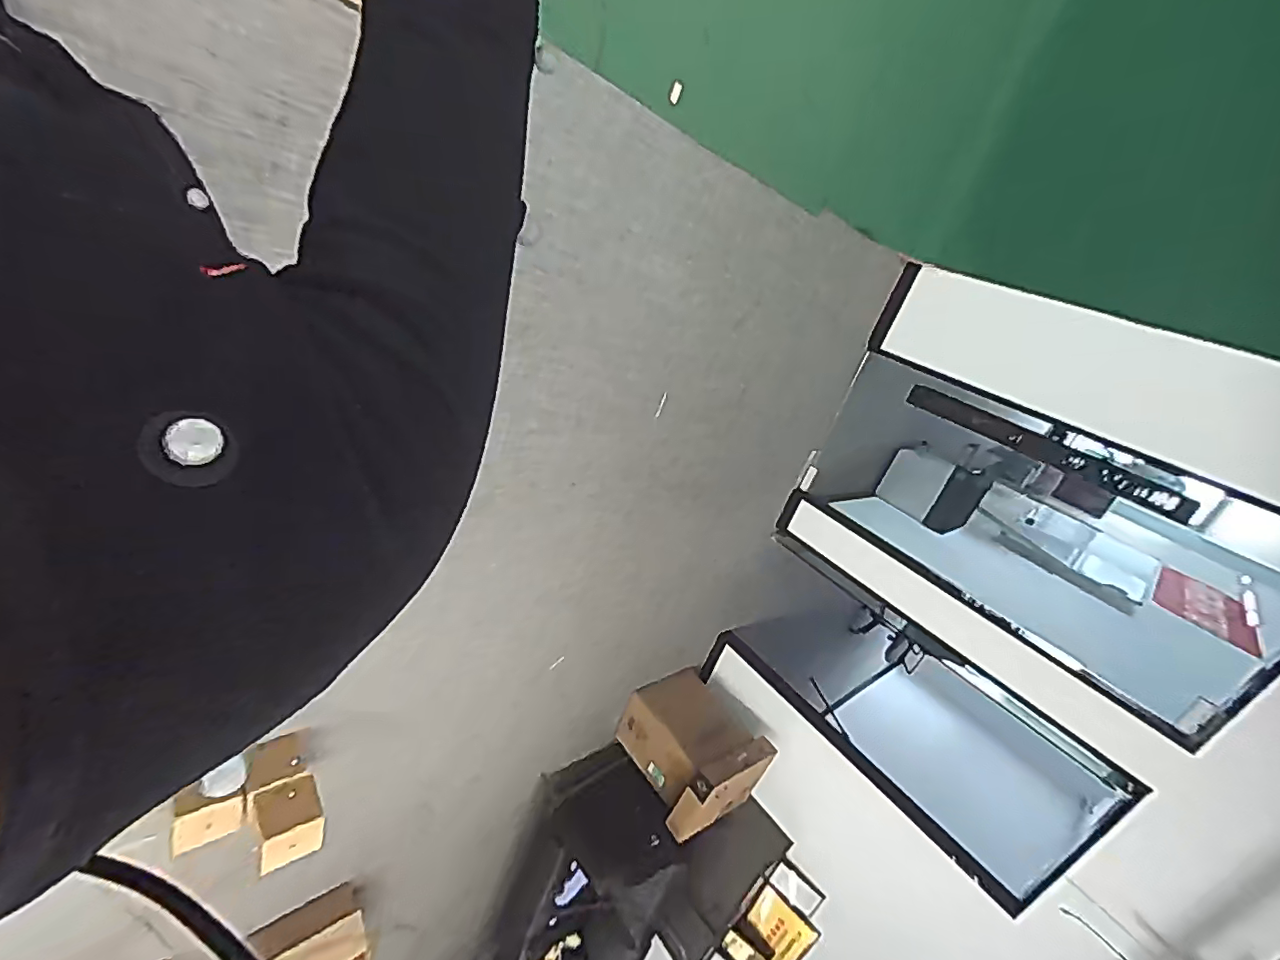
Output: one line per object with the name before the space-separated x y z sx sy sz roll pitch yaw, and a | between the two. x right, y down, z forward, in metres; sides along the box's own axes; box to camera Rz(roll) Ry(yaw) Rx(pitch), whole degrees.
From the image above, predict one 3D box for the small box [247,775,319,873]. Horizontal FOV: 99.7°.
small box | -1.144 1.092 1.729 0.168 0.176 0.179 -5 123 -43
